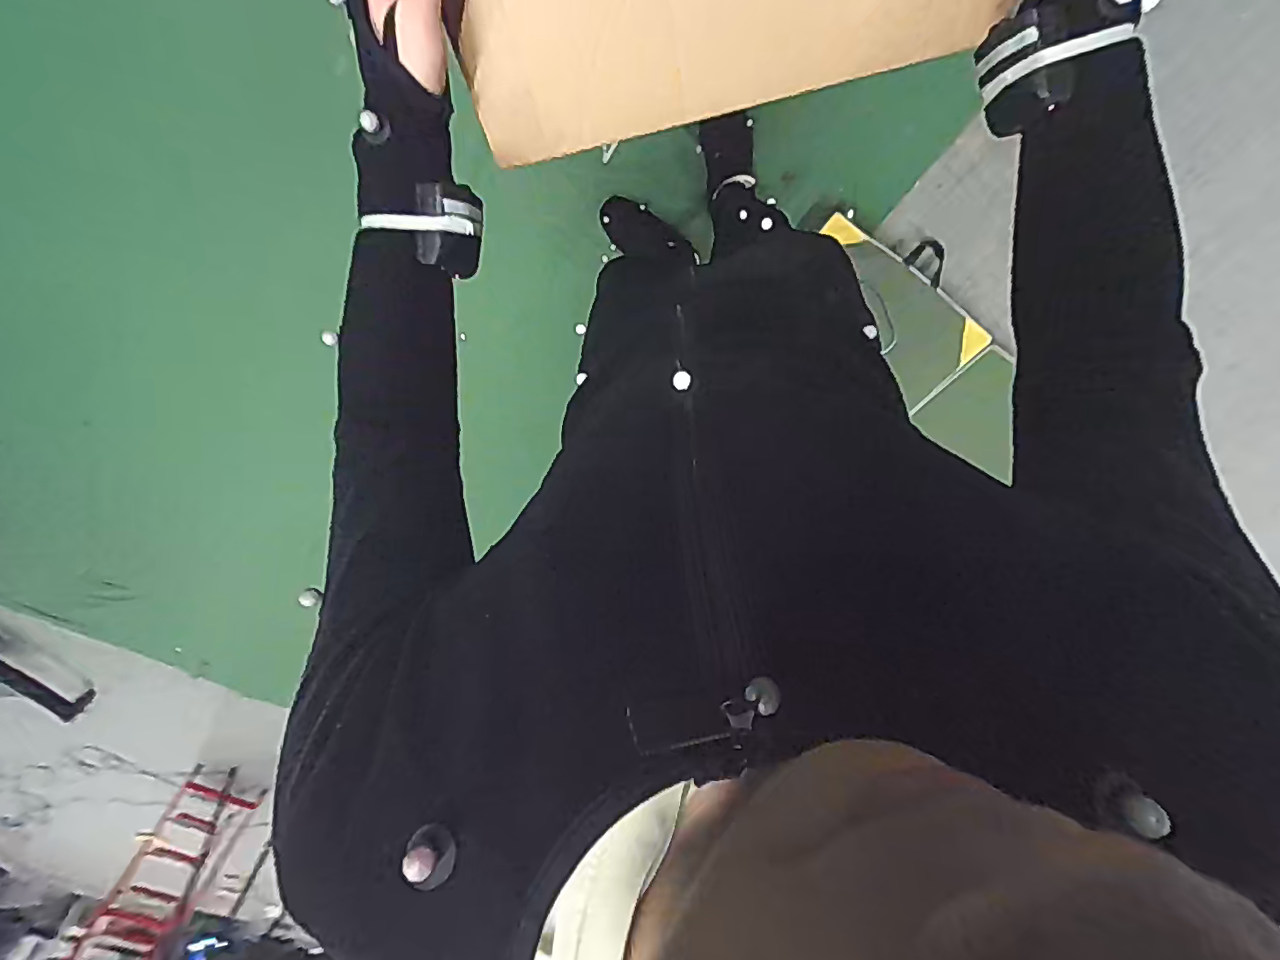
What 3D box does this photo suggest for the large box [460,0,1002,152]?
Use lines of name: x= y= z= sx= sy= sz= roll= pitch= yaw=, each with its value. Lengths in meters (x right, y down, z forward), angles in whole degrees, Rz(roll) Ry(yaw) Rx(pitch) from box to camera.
large box: x=0.047 y=-0.525 z=0.449 sx=0.408 sy=0.320 sz=0.320 roll=-8 pitch=134 yaw=8
